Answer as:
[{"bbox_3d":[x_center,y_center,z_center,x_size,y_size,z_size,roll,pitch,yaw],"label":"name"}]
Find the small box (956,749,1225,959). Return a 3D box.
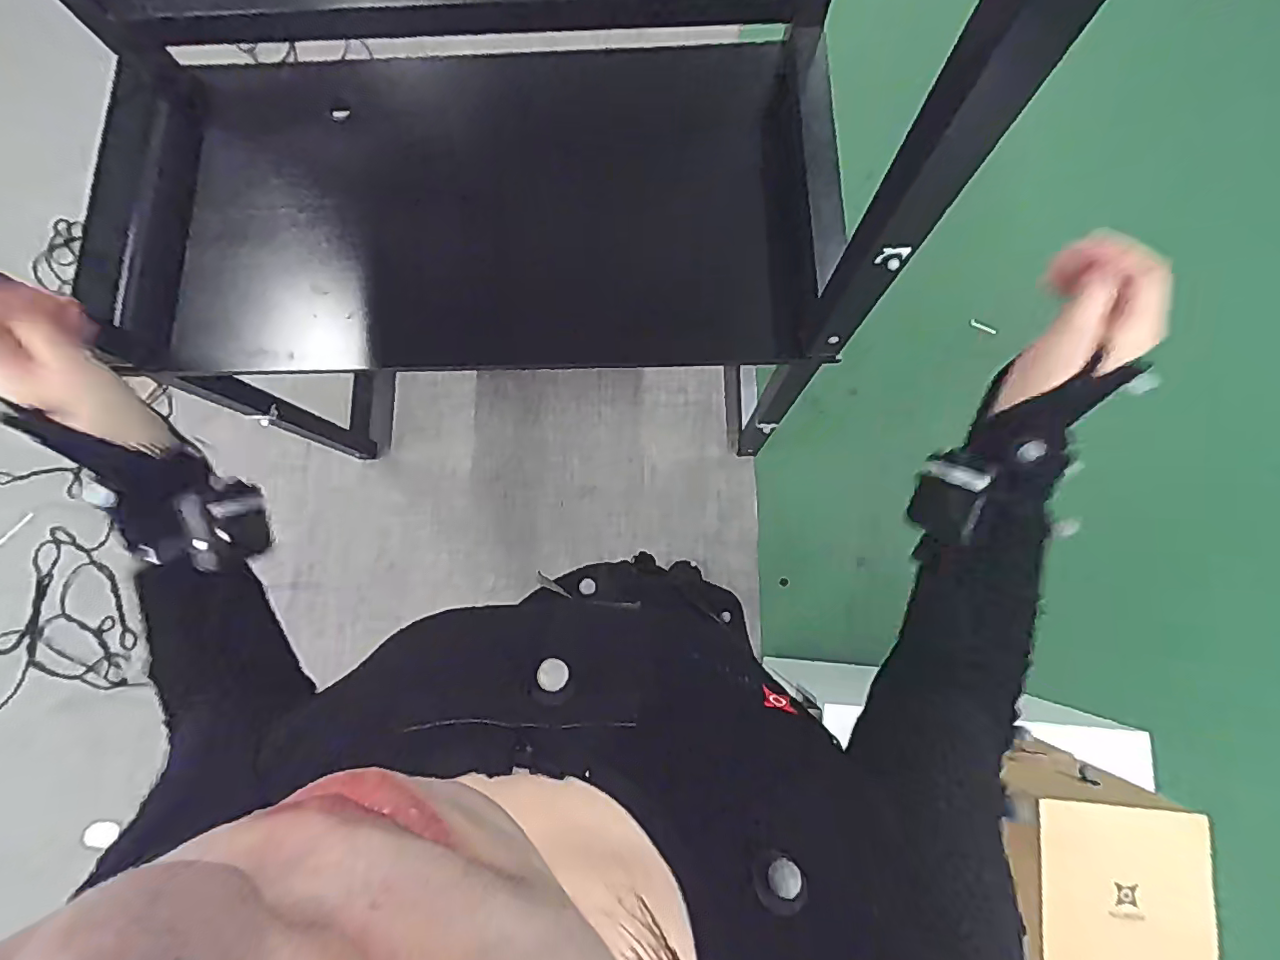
[{"bbox_3d":[0.477,0.420,0.602,0.168,0.176,0.179,4,82,3],"label":"small box"}]
